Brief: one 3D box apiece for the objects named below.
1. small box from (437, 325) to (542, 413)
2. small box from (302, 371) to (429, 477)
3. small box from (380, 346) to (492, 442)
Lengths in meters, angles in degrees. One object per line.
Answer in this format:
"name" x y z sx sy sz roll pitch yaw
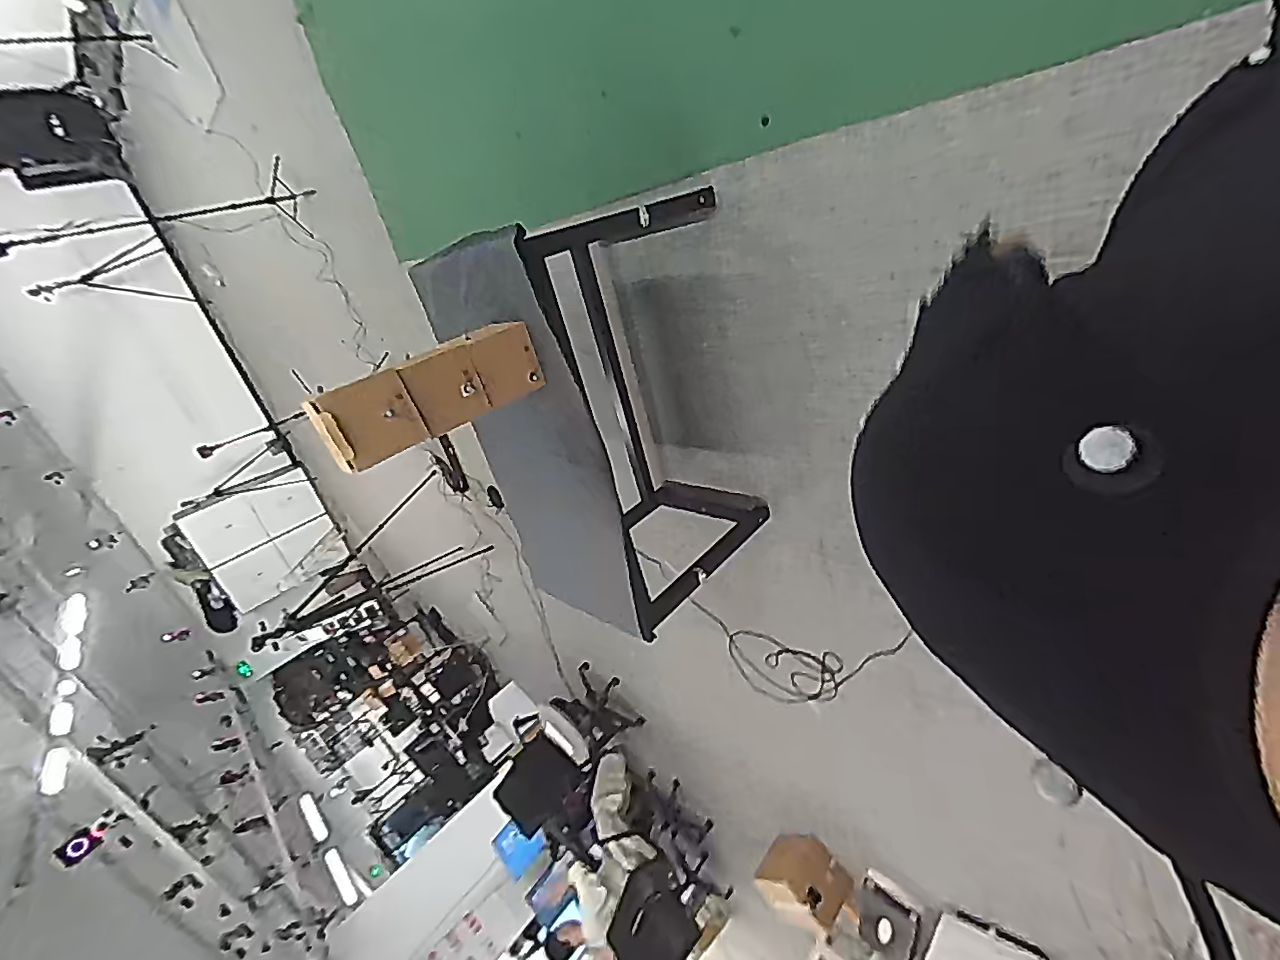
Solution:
"small box" -0.365 -0.280 1.343 0.179 0.176 0.168 15 130 47
"small box" -0.582 -0.122 1.156 0.179 0.176 0.168 5 125 50
"small box" -0.474 -0.201 1.252 0.179 0.176 0.168 8 126 48
